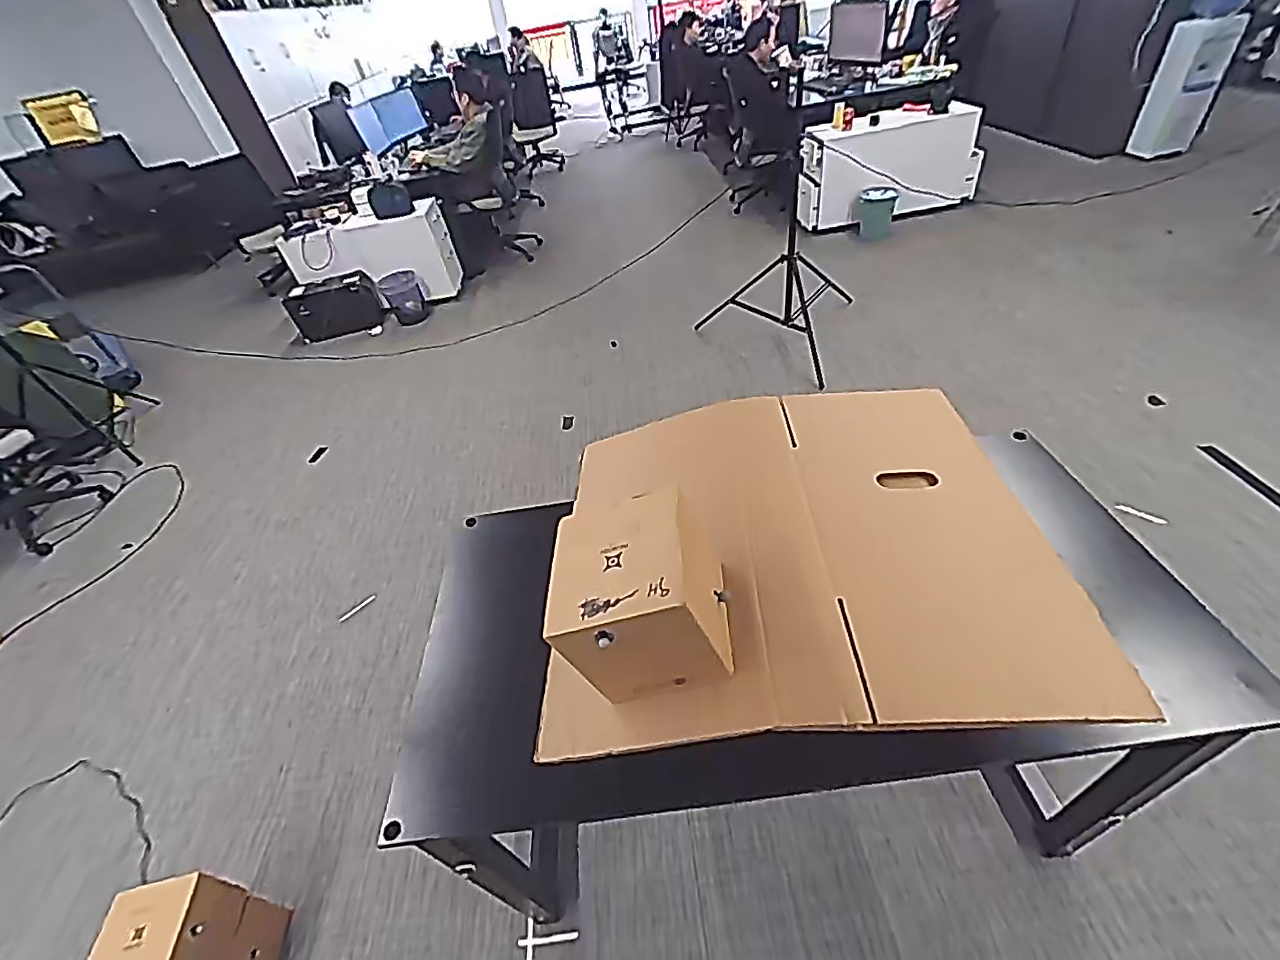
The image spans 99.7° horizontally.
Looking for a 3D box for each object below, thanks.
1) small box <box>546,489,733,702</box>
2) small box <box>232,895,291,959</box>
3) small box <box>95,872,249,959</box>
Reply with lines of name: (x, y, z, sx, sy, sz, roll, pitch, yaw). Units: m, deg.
small box: (0.008, 0.145, 0.670, 0.168, 0.176, 0.179, -18, 39, 17)
small box: (-0.915, 1.056, 1.194, 0.168, 0.176, 0.179, -12, 43, 0)
small box: (-0.940, 0.933, 1.091, 0.168, 0.176, 0.179, -13, 41, -3)
